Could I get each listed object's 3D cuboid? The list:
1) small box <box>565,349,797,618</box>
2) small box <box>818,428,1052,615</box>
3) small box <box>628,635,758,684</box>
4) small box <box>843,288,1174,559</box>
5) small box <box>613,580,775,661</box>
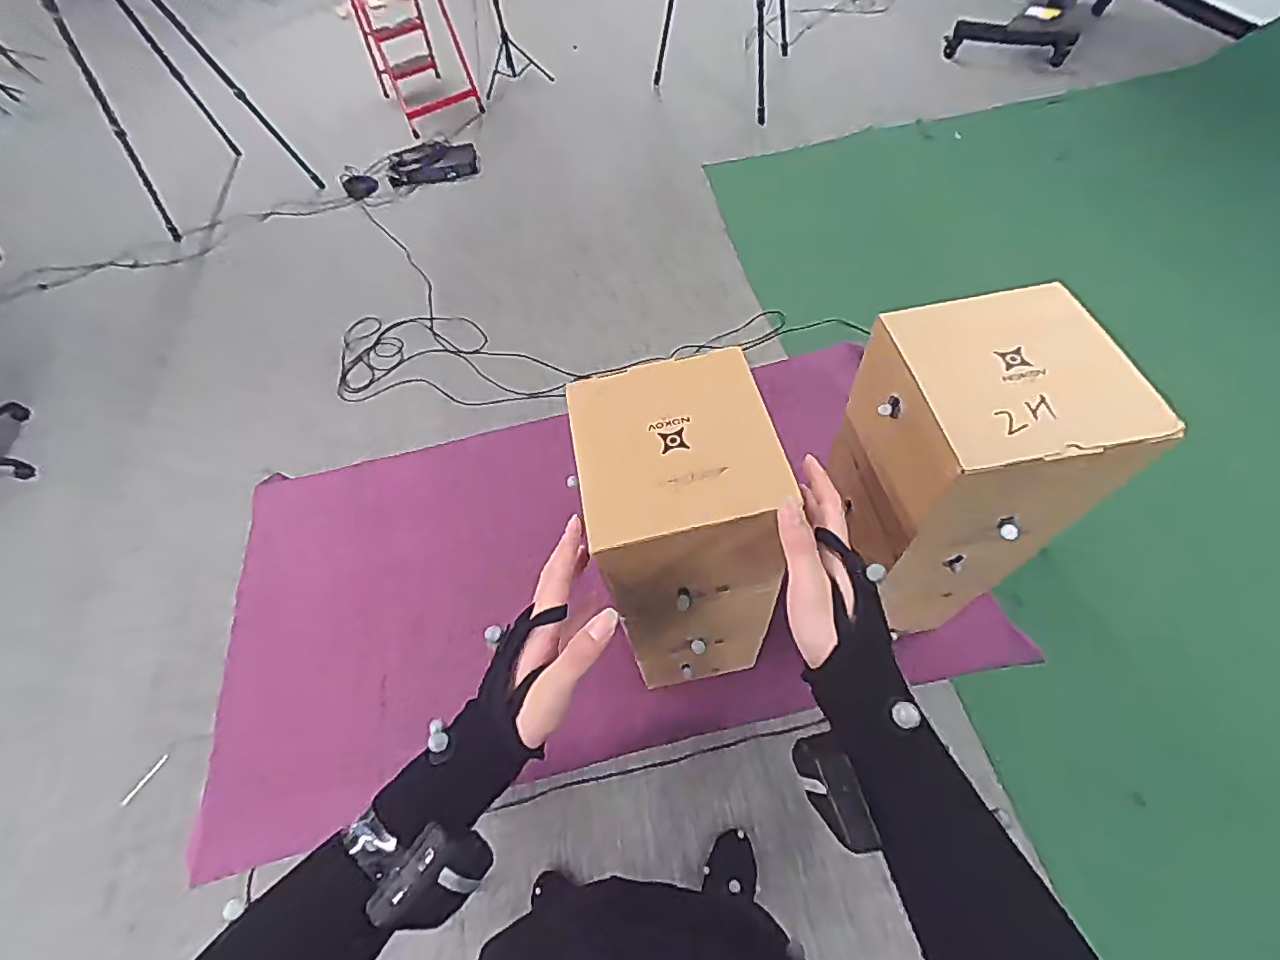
[{"bbox_3d":[0.033,0.009,0.514,0.168,0.176,0.179,-13,57,0],"label":"small box"},{"bbox_3d":[0.327,0.042,0.649,0.168,0.176,0.179,-10,57,2],"label":"small box"},{"bbox_3d":[0.066,0.186,0.787,0.168,0.176,0.179,-12,57,0],"label":"small box"},{"bbox_3d":[0.310,-0.047,0.510,0.168,0.176,0.179,-10,58,2],"label":"small box"},{"bbox_3d":[0.050,0.097,0.650,0.168,0.176,0.179,-12,57,0],"label":"small box"}]
